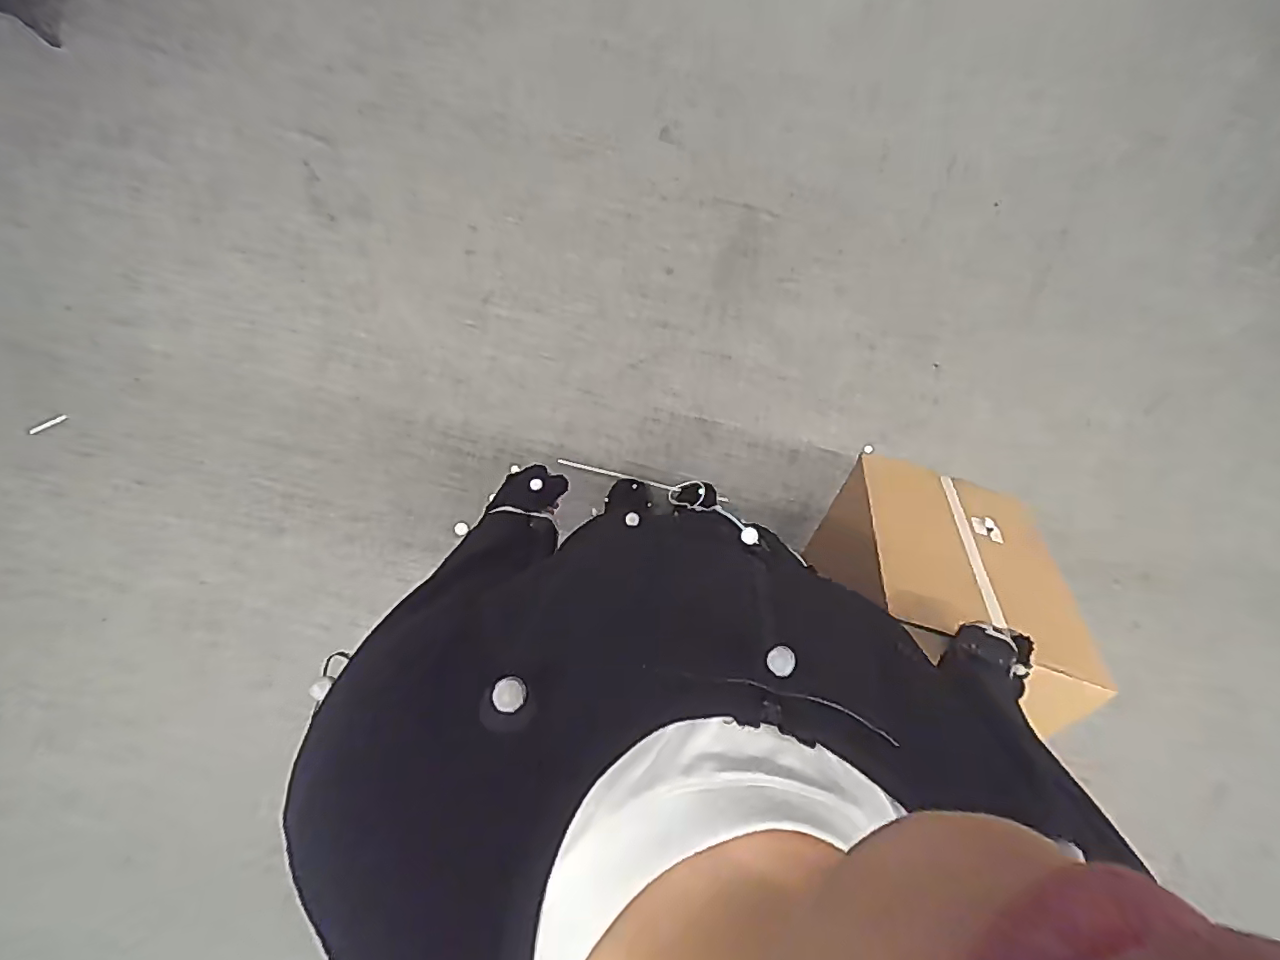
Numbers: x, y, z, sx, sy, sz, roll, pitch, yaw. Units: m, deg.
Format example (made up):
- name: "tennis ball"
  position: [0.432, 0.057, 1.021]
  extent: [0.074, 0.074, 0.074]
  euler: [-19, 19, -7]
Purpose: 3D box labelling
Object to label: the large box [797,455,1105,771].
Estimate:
- name: "large box"
  position: [0.487, 0.224, 0.970]
  extent: [0.320, 0.408, 0.320]
  euler: [18, 129, 2]
